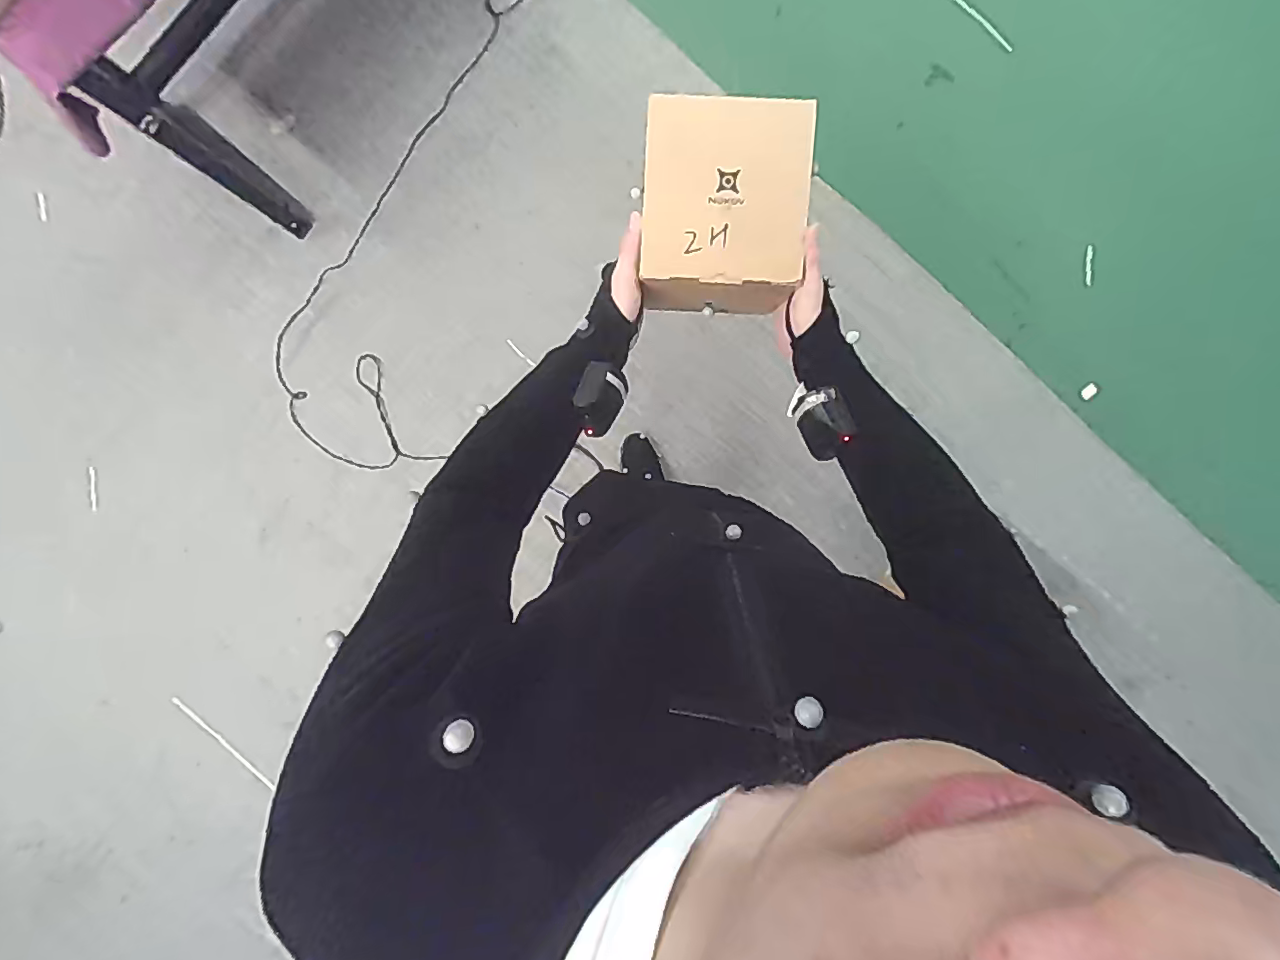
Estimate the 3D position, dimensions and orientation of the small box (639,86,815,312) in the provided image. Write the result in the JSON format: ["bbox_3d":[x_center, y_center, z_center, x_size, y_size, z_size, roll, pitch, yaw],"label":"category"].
[{"bbox_3d":[0.085,-0.298,0.607,0.168,0.176,0.179,2,97,2],"label":"small box"}]
